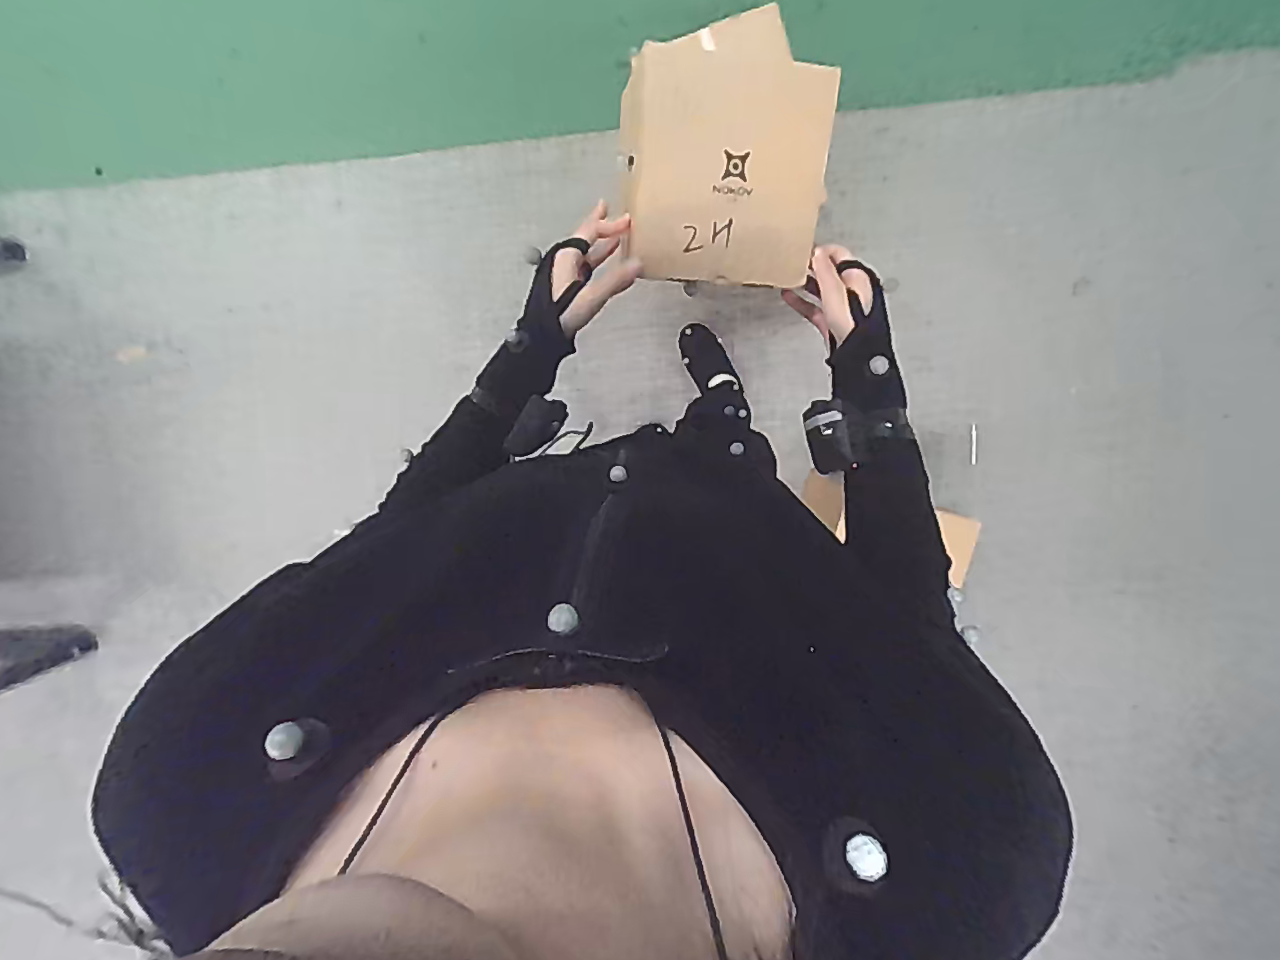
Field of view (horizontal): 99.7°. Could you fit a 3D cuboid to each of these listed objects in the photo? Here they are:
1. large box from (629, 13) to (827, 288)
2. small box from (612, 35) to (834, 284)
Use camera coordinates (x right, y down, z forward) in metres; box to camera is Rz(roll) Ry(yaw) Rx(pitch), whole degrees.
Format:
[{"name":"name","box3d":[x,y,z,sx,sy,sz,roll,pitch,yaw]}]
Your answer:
[{"name":"large box","box3d":[0.191,-0.723,1.260,0.320,0.320,0.408,-18,95,3]},{"name":"small box","box3d":[0.063,-0.292,0.535,0.168,0.176,0.179,0,111,-9]}]
